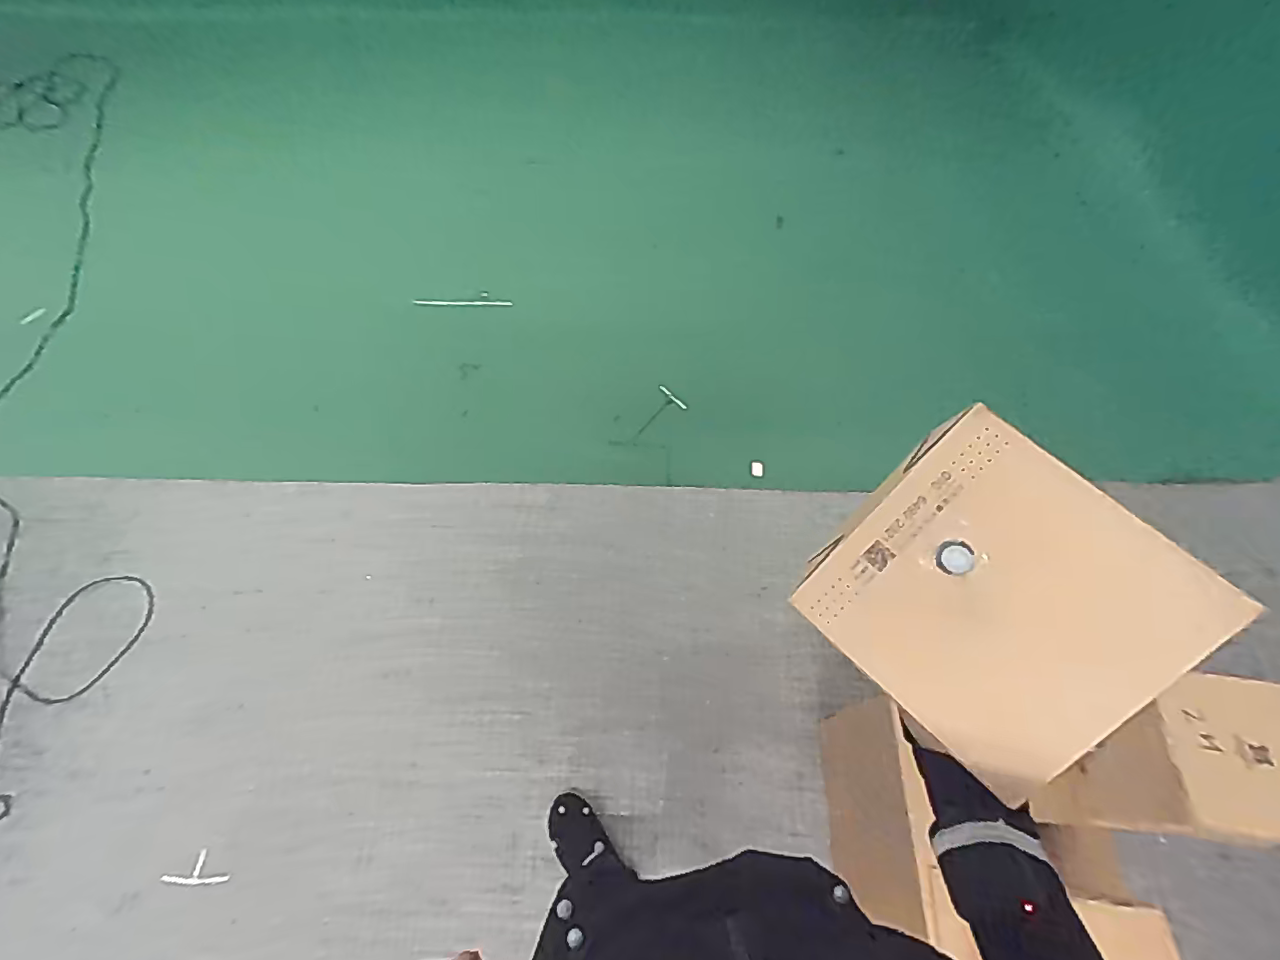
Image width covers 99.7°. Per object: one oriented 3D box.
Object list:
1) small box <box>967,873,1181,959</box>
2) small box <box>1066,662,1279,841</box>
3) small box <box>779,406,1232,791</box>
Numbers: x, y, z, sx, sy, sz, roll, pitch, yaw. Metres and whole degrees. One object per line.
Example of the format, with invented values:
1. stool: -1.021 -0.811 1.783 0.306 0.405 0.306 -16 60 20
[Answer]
1. small box: 0.552 0.625 0.694 0.168 0.176 0.179 3 60 5
2. small box: 0.677 0.337 0.670 0.179 0.176 0.168 6 60 5
3. small box: 0.224 0.065 0.391 0.176 0.179 0.168 43 104 17
